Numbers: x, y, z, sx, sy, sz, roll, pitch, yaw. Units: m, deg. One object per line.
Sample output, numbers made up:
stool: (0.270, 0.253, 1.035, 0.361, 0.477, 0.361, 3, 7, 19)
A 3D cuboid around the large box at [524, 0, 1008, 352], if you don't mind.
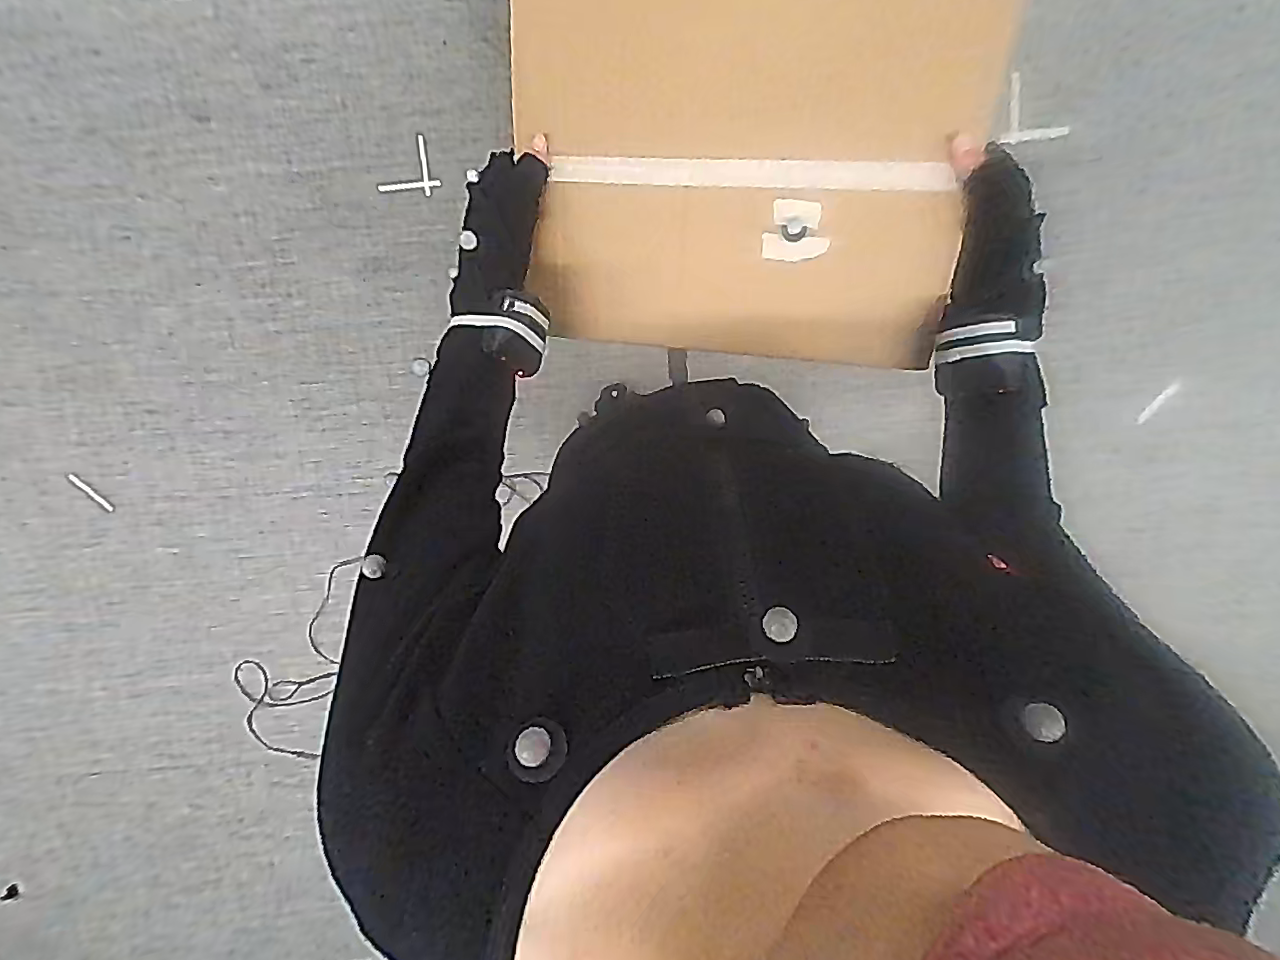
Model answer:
large box: (0.114, -0.335, 0.629, 0.408, 0.320, 0.320, 7, 113, 11)
